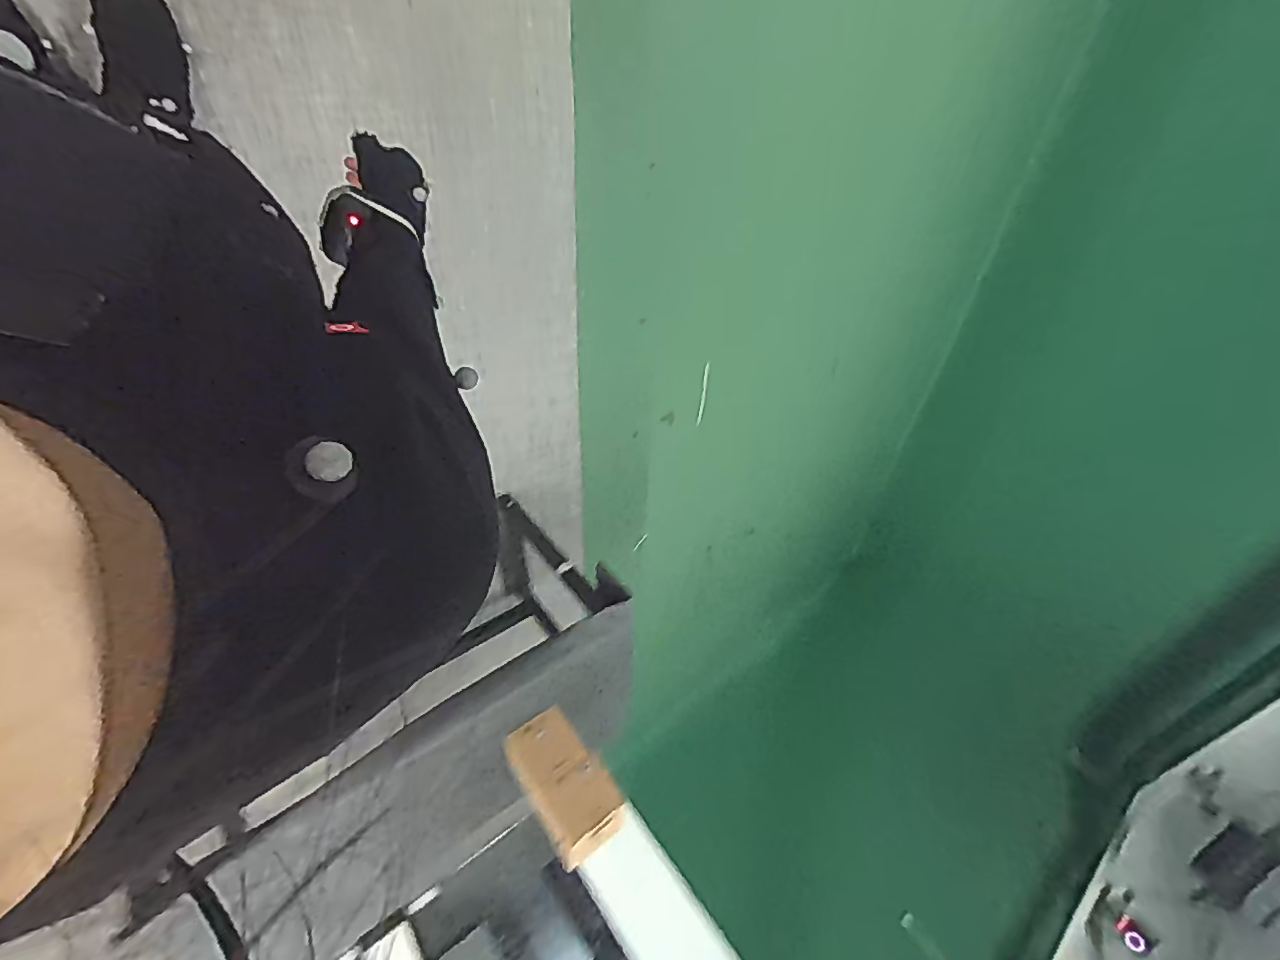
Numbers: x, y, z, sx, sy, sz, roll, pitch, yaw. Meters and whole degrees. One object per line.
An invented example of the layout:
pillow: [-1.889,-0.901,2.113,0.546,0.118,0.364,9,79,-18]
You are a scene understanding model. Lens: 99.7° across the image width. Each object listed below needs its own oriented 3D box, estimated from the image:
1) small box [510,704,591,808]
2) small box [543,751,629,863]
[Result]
small box: [-0.252,0.775,1.534,0.168,0.176,0.179,-26,138,-30]
small box: [-0.148,0.862,1.441,0.168,0.176,0.179,-24,138,-31]
